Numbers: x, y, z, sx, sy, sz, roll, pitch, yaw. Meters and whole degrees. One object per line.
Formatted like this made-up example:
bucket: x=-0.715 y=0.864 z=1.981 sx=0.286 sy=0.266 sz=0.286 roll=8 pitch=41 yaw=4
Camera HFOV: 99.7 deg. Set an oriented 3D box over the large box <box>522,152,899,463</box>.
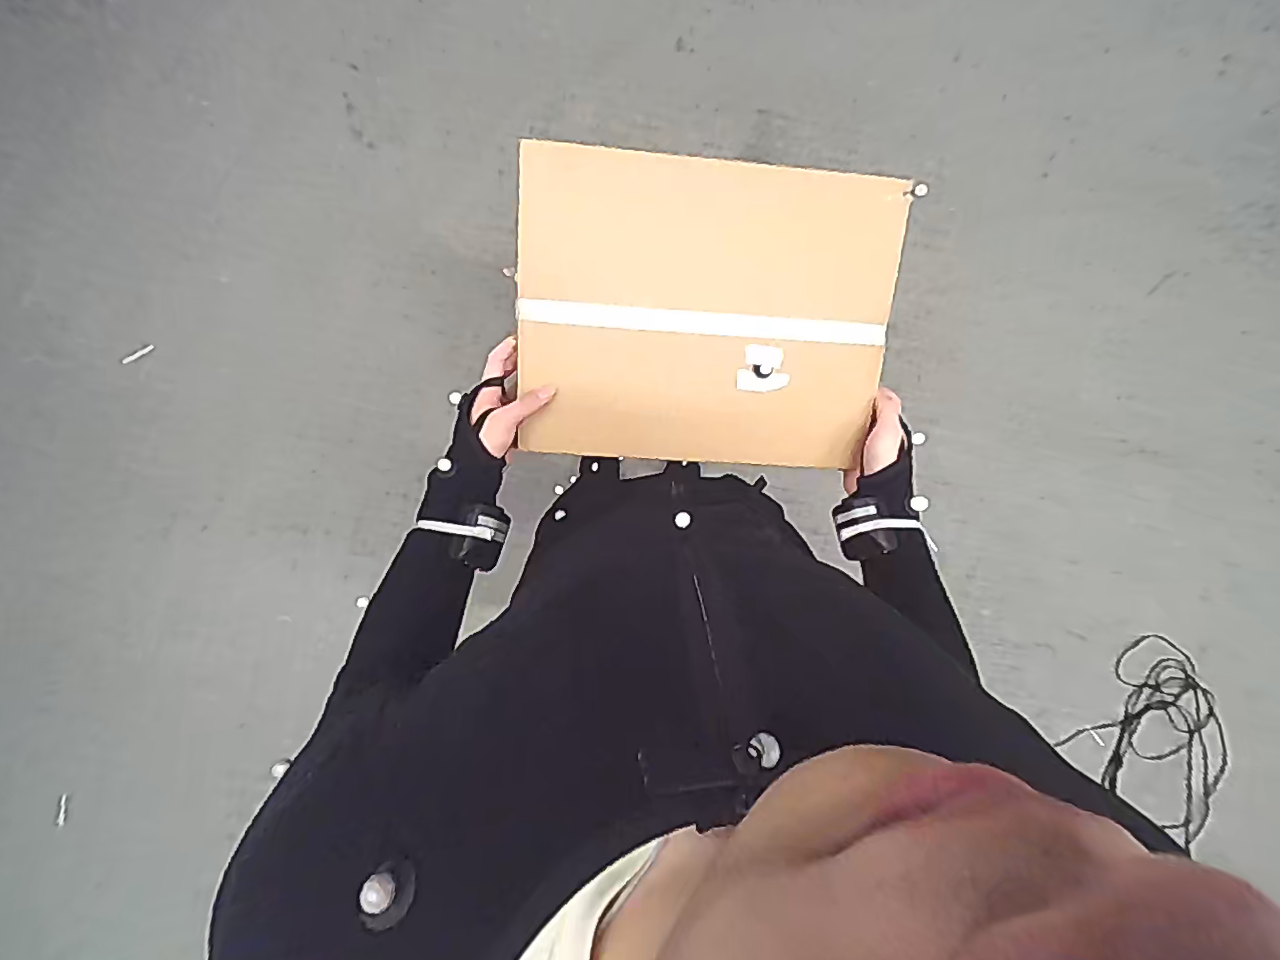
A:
large box: x=0.058 y=-0.214 z=0.737 sx=0.408 sy=0.320 sz=0.320 roll=2 pitch=107 yaw=-6
